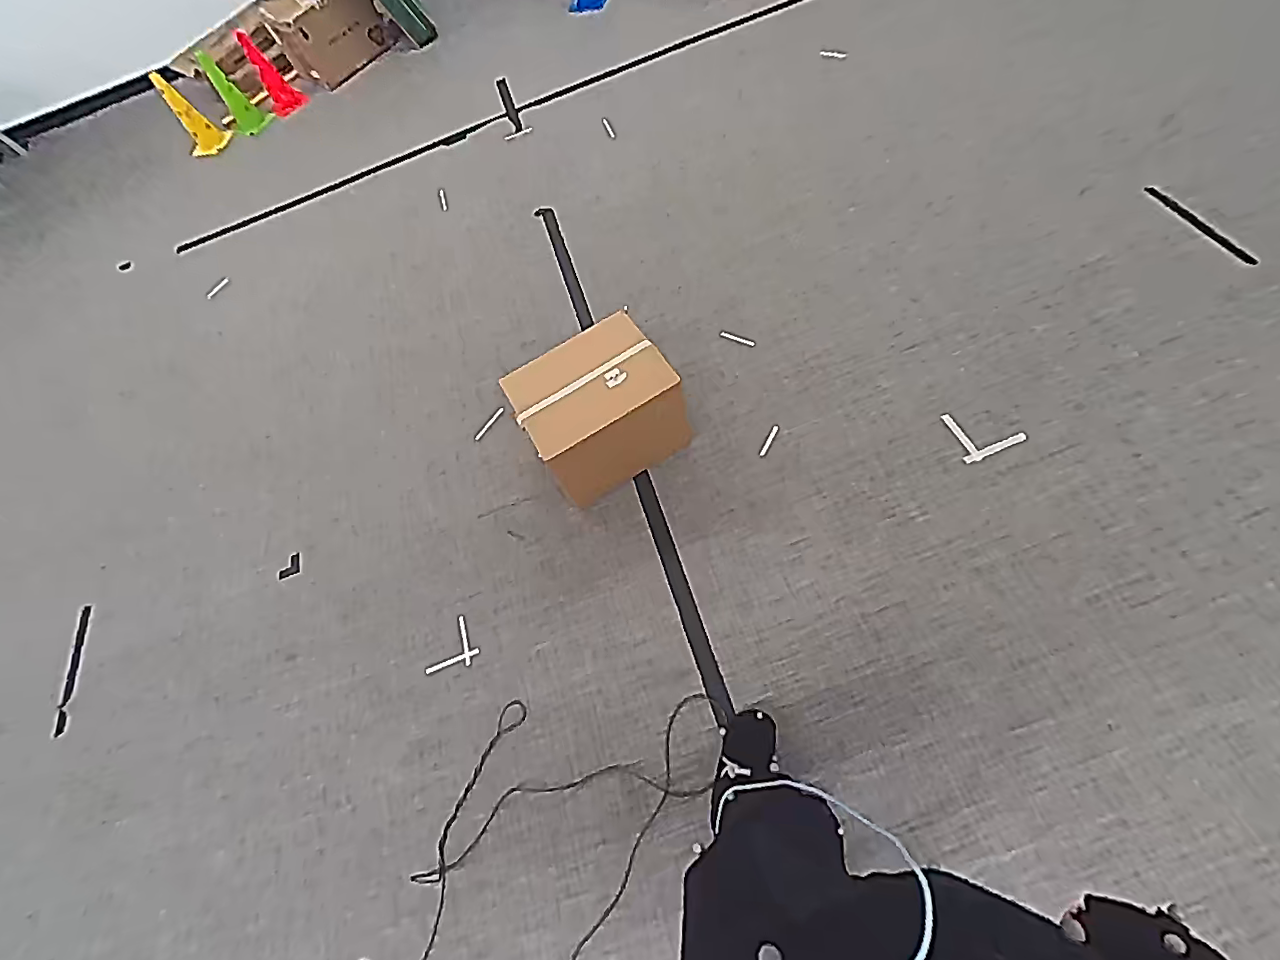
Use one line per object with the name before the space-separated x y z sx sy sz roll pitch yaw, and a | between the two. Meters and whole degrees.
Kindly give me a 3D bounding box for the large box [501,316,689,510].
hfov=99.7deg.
large box | -0.117 -0.183 1.553 0.408 0.320 0.320 -31 63 -6
